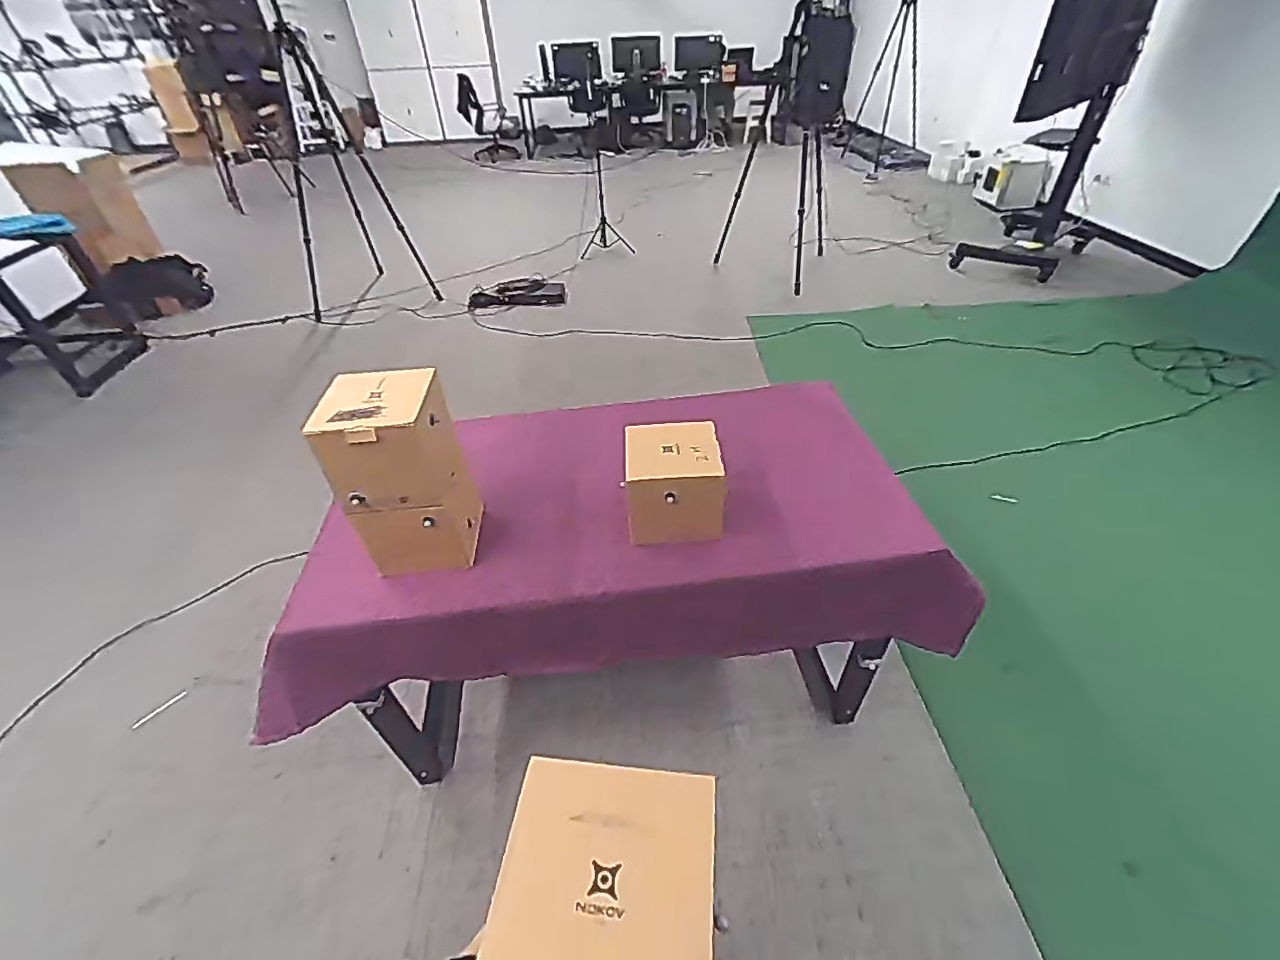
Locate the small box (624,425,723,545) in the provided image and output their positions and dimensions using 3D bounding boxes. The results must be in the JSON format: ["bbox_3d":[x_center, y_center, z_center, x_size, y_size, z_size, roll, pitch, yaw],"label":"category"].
[{"bbox_3d":[0.064,0.012,1.049,0.179,0.176,0.168,-3,41,1],"label":"small box"}]

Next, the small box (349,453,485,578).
[{"bbox_3d":[-0.410,0.069,1.026,0.179,0.176,0.168,-5,40,-2],"label":"small box"}]

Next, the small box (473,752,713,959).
[{"bbox_3d":[-0.024,0.367,0.465,0.168,0.176,0.179,3,41,8],"label":"small box"}]

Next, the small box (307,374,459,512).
[{"bbox_3d":[-0.420,-0.059,0.923,0.168,0.176,0.179,-6,39,-3],"label":"small box"}]
